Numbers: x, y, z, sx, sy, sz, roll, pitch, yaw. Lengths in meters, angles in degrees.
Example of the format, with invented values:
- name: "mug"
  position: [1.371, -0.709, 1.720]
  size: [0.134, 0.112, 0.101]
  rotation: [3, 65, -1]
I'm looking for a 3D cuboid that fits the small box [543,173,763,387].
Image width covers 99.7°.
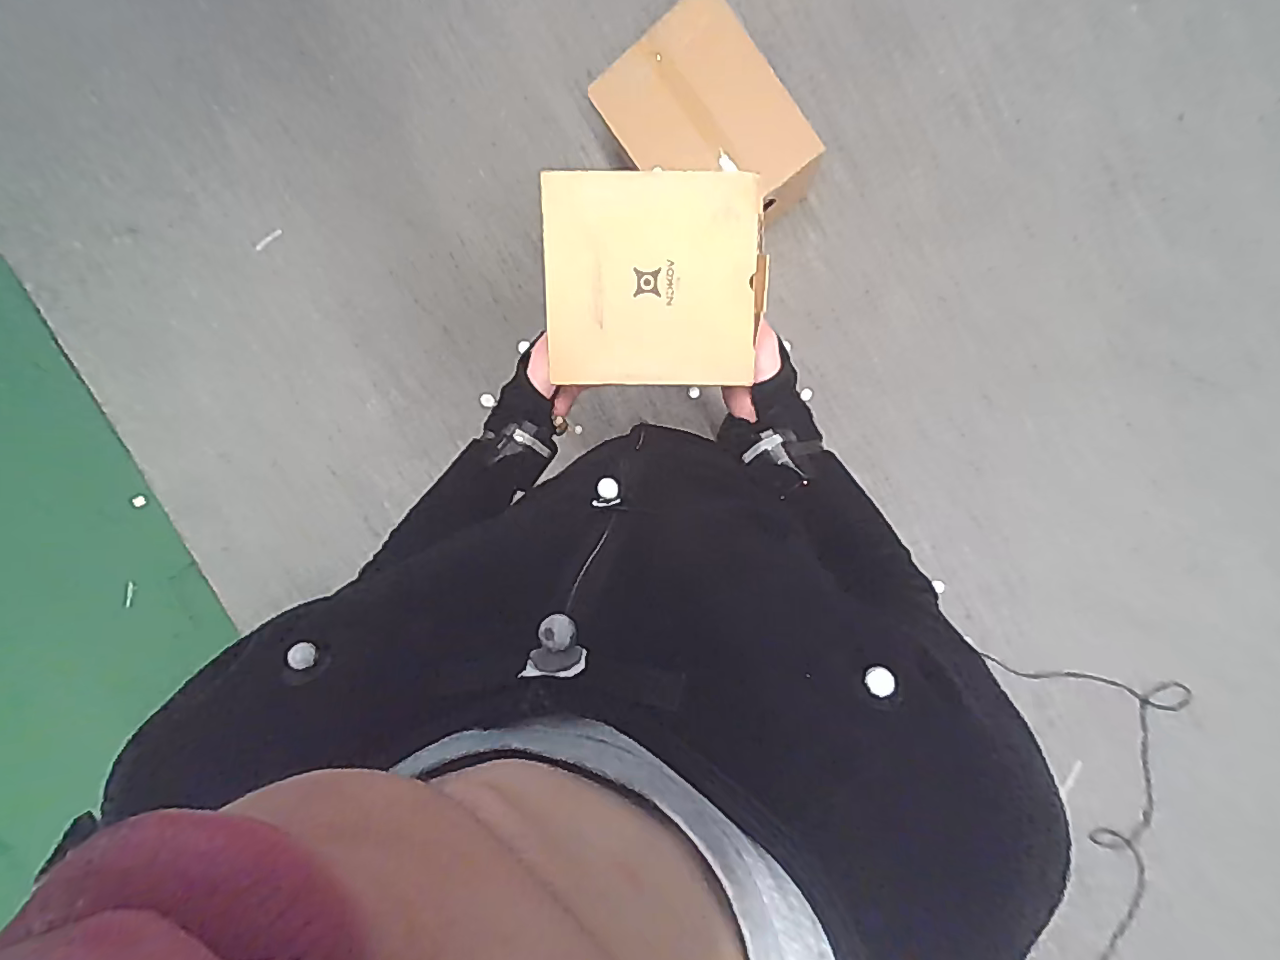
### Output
- name: "small box"
  position: [0.010, -0.177, 0.518]
  size: [0.179, 0.176, 0.168]
  rotation: [0, 102, 1]
